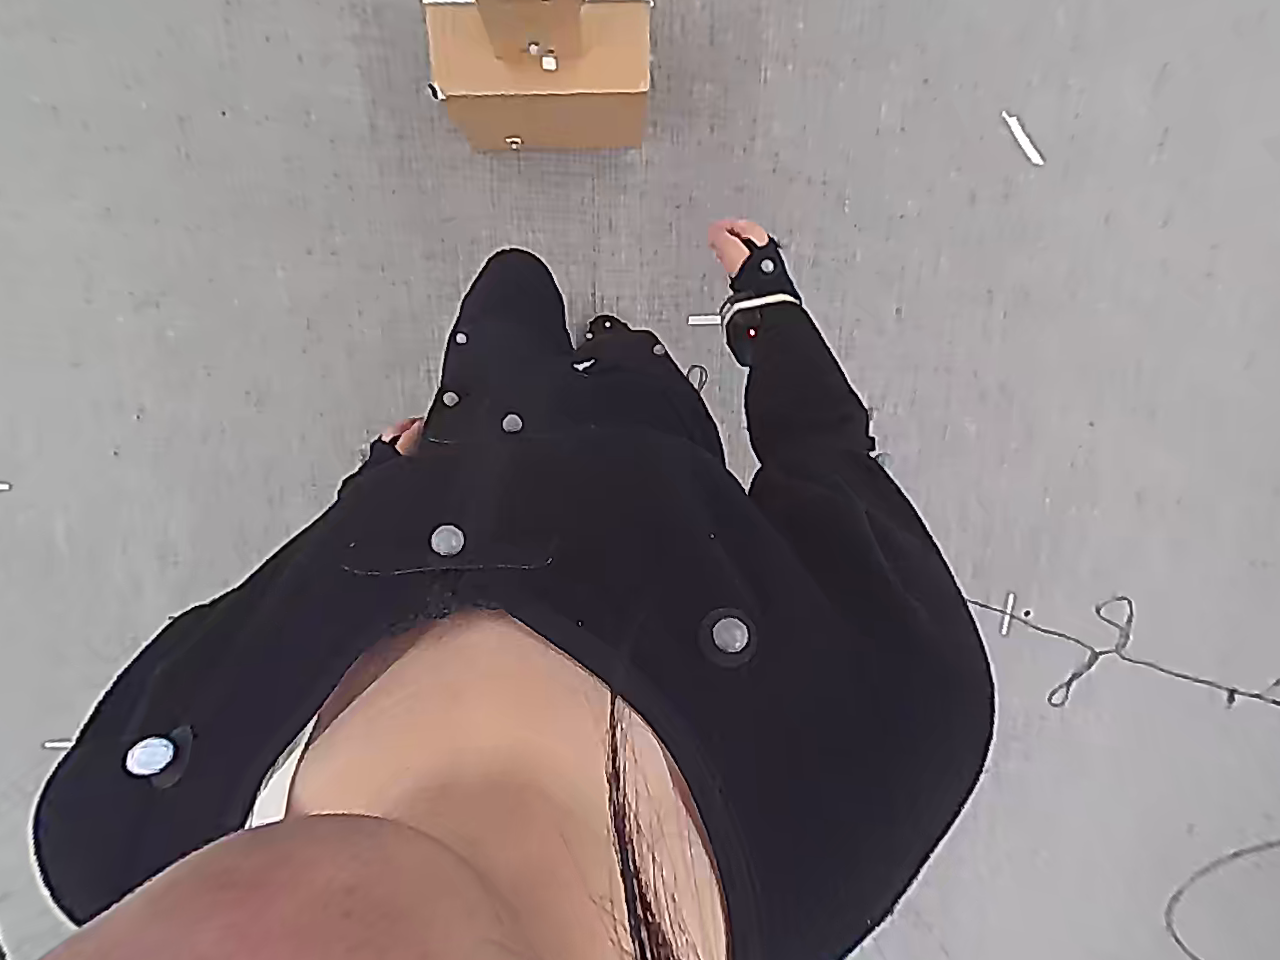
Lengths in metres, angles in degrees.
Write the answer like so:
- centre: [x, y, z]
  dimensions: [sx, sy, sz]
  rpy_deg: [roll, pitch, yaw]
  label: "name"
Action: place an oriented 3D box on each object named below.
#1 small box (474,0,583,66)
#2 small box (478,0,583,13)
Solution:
- centre: [-0.183, -0.833, 0.901]
  dimensions: [0.168, 0.176, 0.179]
  rpy_deg: [-3, 105, -3]
  label: "small box"
- centre: [-0.168, -0.788, 0.746]
  dimensions: [0.168, 0.176, 0.179]
  rpy_deg: [-5, 104, -4]
  label: "small box"
